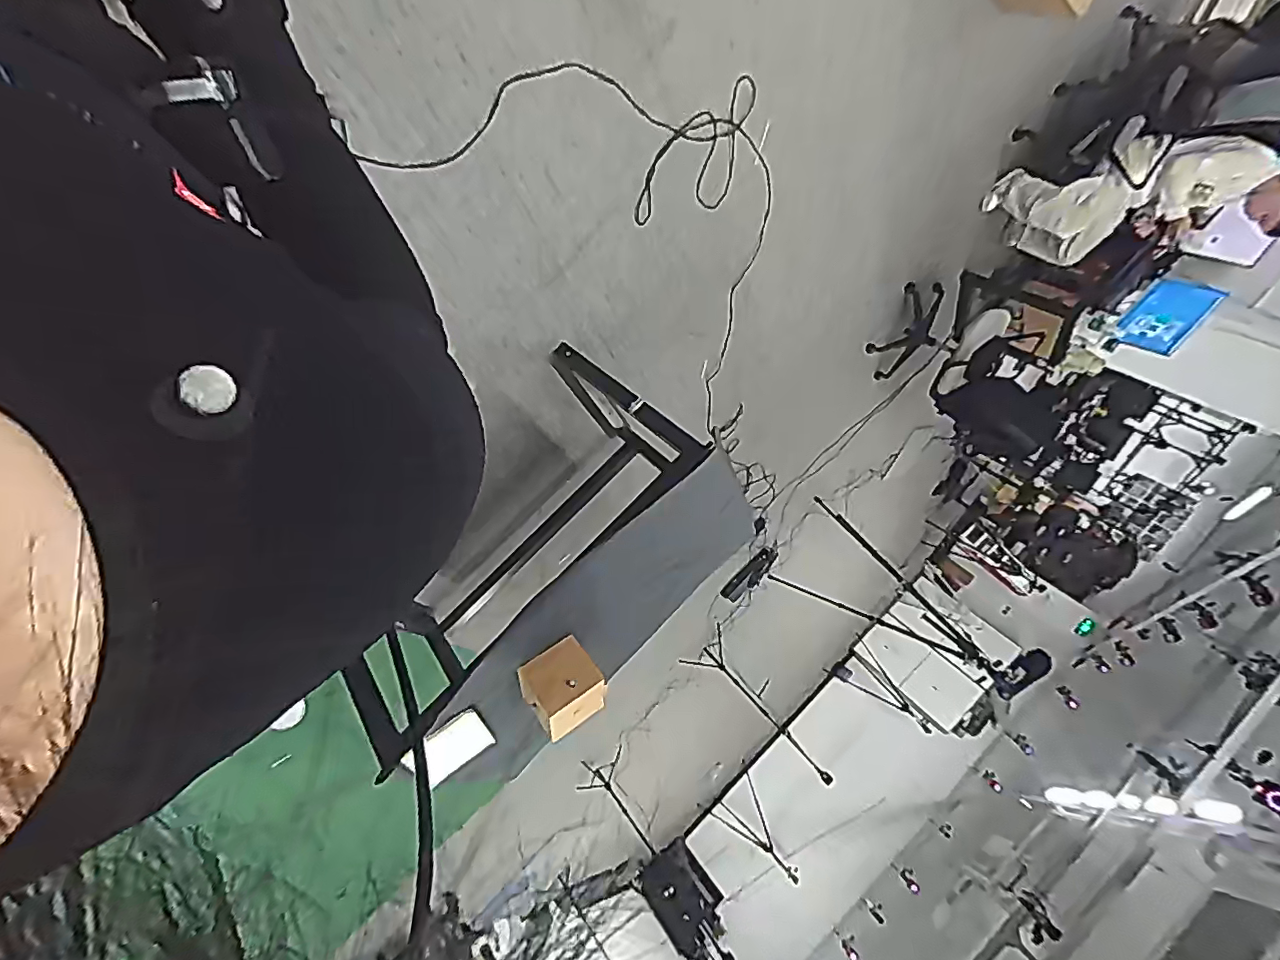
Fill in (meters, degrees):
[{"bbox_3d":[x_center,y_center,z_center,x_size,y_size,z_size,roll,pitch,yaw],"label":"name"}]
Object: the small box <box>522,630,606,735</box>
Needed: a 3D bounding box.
[{"bbox_3d":[-0.212,0.556,1.495,0.179,0.176,0.168,-28,142,-29],"label":"small box"}]
